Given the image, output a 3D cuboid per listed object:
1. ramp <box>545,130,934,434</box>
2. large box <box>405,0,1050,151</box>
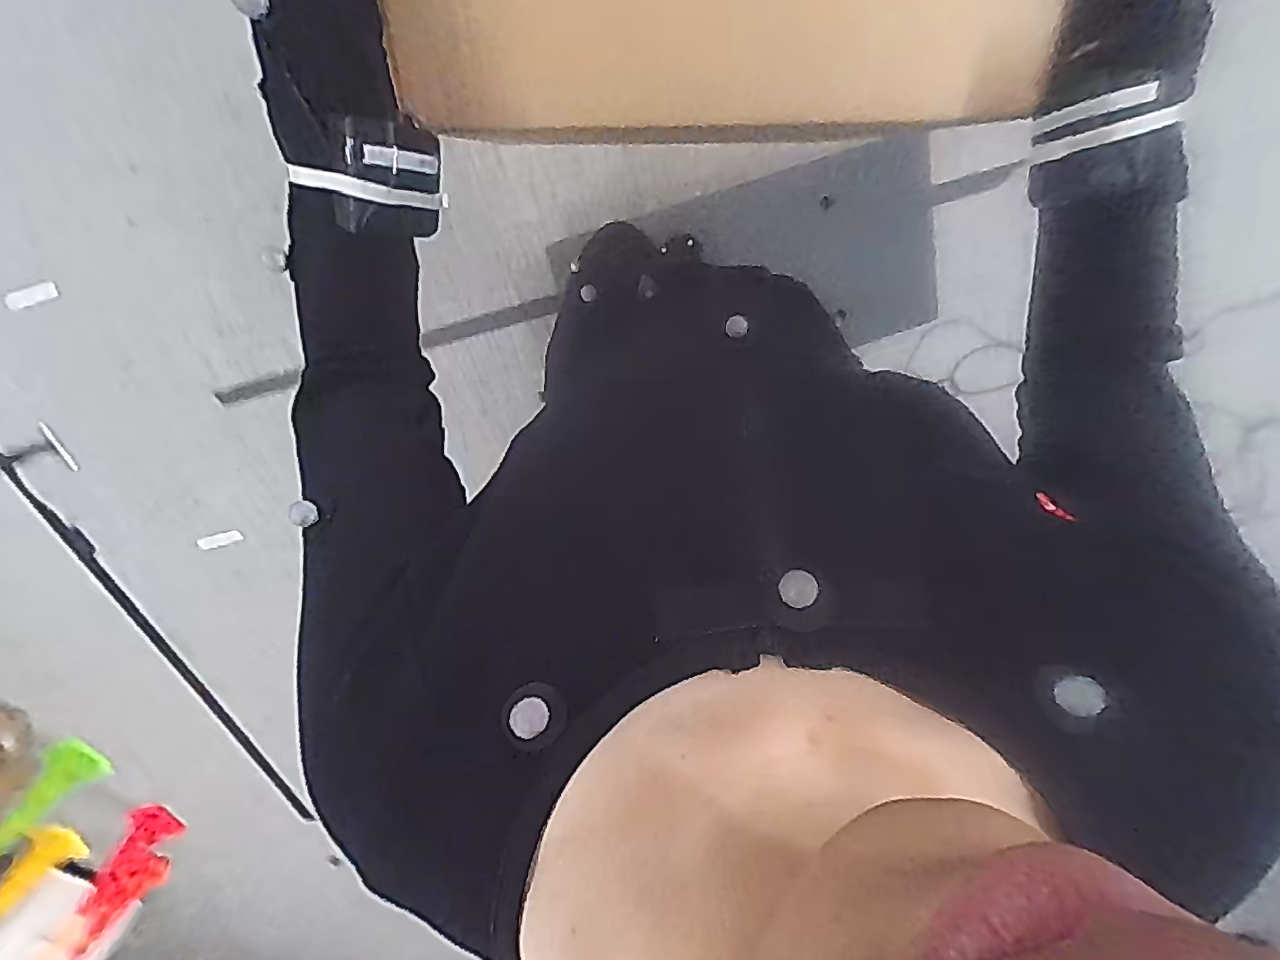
[{"bbox_3d":[0.303,-0.507,1.419,0.991,0.206,0.509,-18,112,6],"label":"ramp"},{"bbox_3d":[0.046,-0.443,0.413,0.408,0.320,0.320,-2,120,-2],"label":"large box"}]
